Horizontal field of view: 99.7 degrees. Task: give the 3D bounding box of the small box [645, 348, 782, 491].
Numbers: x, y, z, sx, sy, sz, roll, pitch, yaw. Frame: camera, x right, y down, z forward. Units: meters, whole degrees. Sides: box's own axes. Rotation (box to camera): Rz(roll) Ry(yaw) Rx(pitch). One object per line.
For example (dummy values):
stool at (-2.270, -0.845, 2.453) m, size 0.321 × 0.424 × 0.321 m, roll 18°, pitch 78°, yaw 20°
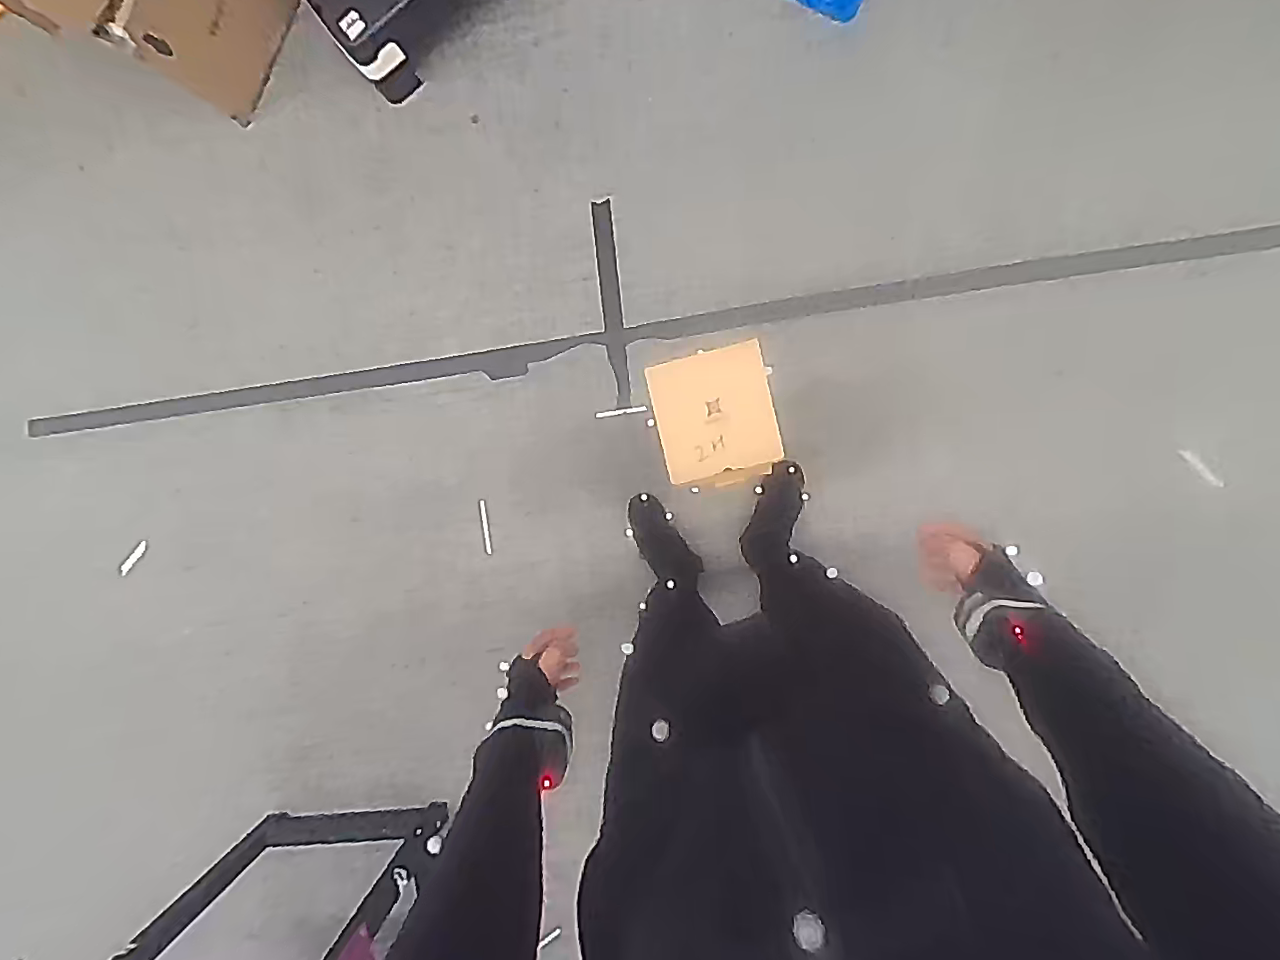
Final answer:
small box at (0.109, -0.090, 0.843) m, size 0.168 × 0.176 × 0.179 m, roll -13°, pitch 94°, yaw 7°
